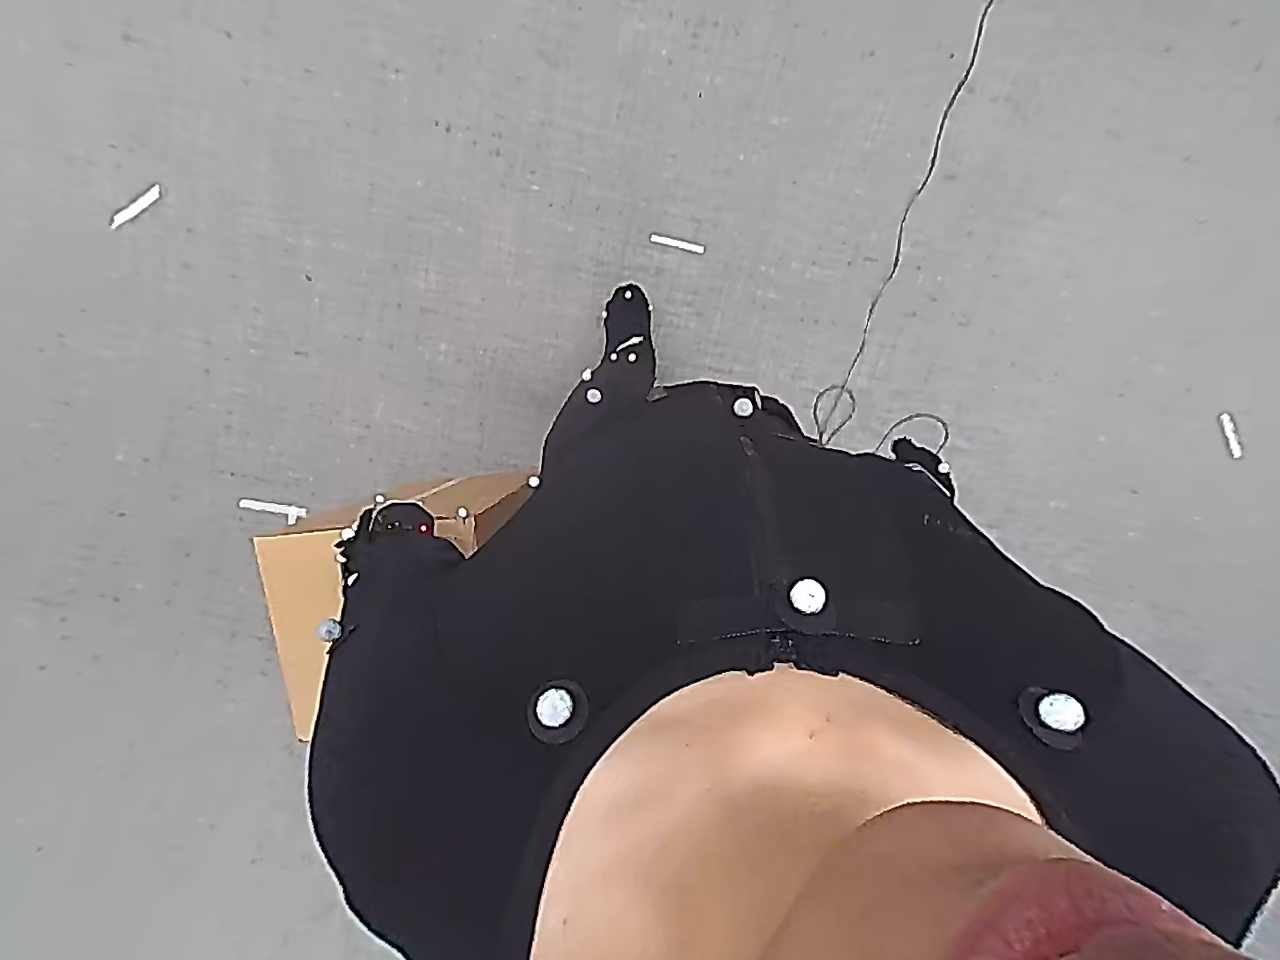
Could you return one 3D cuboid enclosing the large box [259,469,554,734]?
[{"bbox_3d":[-0.350,0.174,0.946,0.320,0.408,0.320,-7,100,4],"label":"large box"}]
